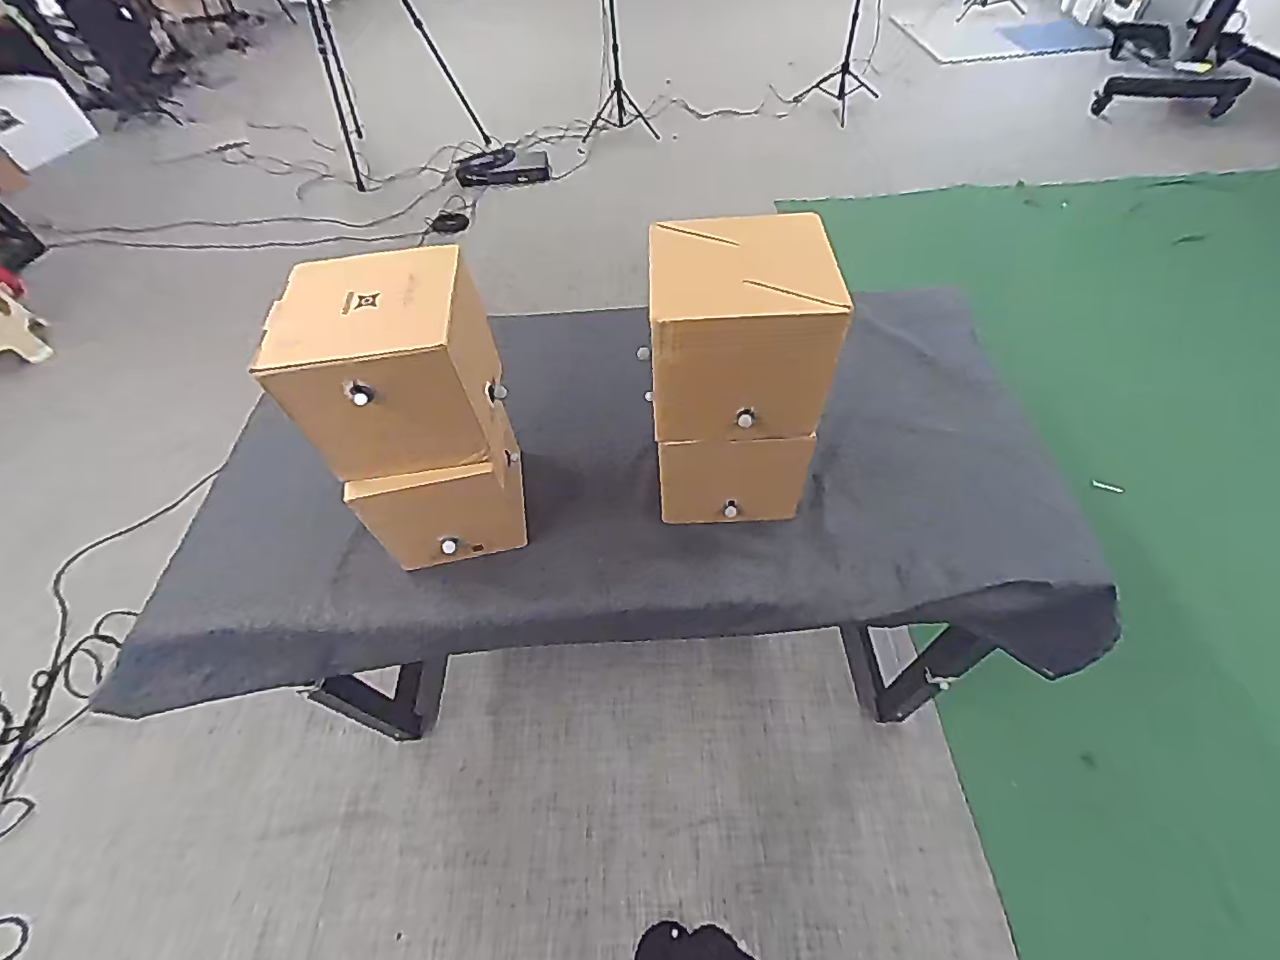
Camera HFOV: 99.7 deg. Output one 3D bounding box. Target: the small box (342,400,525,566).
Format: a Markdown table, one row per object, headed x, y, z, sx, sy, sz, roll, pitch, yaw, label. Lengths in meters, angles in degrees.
| x | y | z | sx | sy | sz | roll | pitch | yaw | label |
| --- | --- | --- | --- | --- | --- | --- | --- | --- | --- |
| -0.252 | -0.015 | 0.700 | 0.168 | 0.176 | 0.179 | -11 | 54 | -4 | small box |

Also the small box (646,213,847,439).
| x | y | z | sx | sy | sz | roll | pitch | yaw | label |
| --- | --- | --- | --- | --- | --- | --- | --- | --- | --- |
| 0.097 | -0.162 | 0.573 | 0.179 | 0.176 | 0.168 | -2 | 53 | 3 | small box |

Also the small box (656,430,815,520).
| x | y | z | sx | sy | sz | roll | pitch | yaw | label |
| --- | --- | --- | --- | --- | --- | --- | --- | --- | --- |
| 0.110 | -0.060 | 0.706 | 0.179 | 0.176 | 0.168 | -2 | 53 | 2 | small box |

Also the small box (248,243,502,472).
| x | y | z | sx | sy | sz | roll | pitch | yaw | label |
| --- | --- | --- | --- | --- | --- | --- | --- | --- | --- |
| -0.259 | -0.124 | 0.579 | 0.179 | 0.176 | 0.168 | -7 | 55 | -2 | small box |
